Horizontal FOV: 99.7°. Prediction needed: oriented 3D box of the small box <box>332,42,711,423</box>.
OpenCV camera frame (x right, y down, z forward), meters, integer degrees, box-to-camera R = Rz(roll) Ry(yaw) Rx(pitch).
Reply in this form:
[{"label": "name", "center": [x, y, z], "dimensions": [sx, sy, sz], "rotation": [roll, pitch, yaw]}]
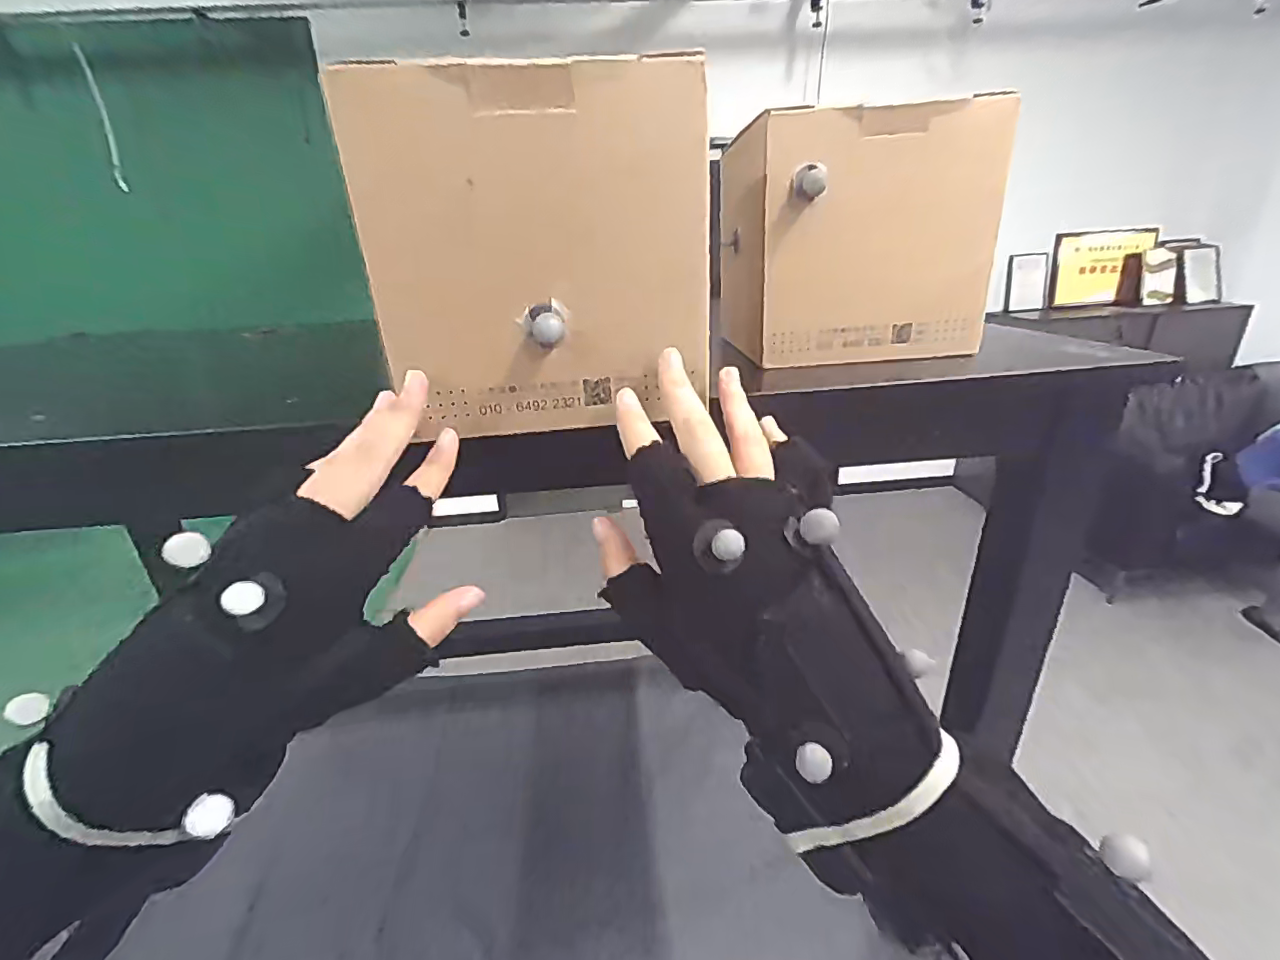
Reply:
[{"label": "small box", "center": [-0.055, -0.141, 0.339], "dimensions": [0.168, 0.176, 0.179], "rotation": [-6, 23, -5]}]
